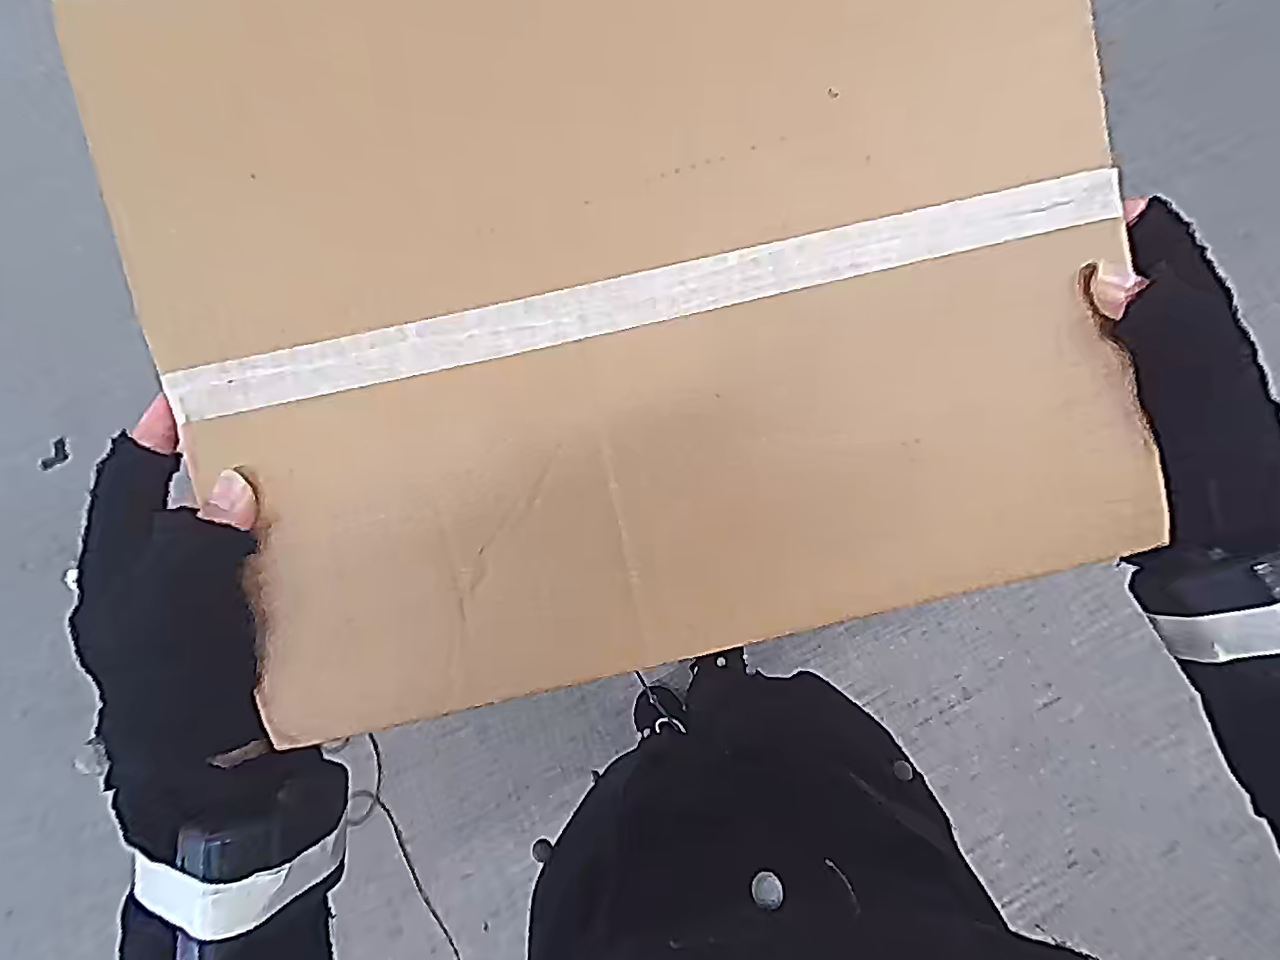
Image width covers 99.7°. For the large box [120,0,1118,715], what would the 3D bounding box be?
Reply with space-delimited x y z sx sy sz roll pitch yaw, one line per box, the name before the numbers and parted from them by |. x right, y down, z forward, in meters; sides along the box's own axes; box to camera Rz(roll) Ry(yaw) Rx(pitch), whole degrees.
large box | 0.003 -0.094 0.389 0.408 0.320 0.320 -12 94 -1
